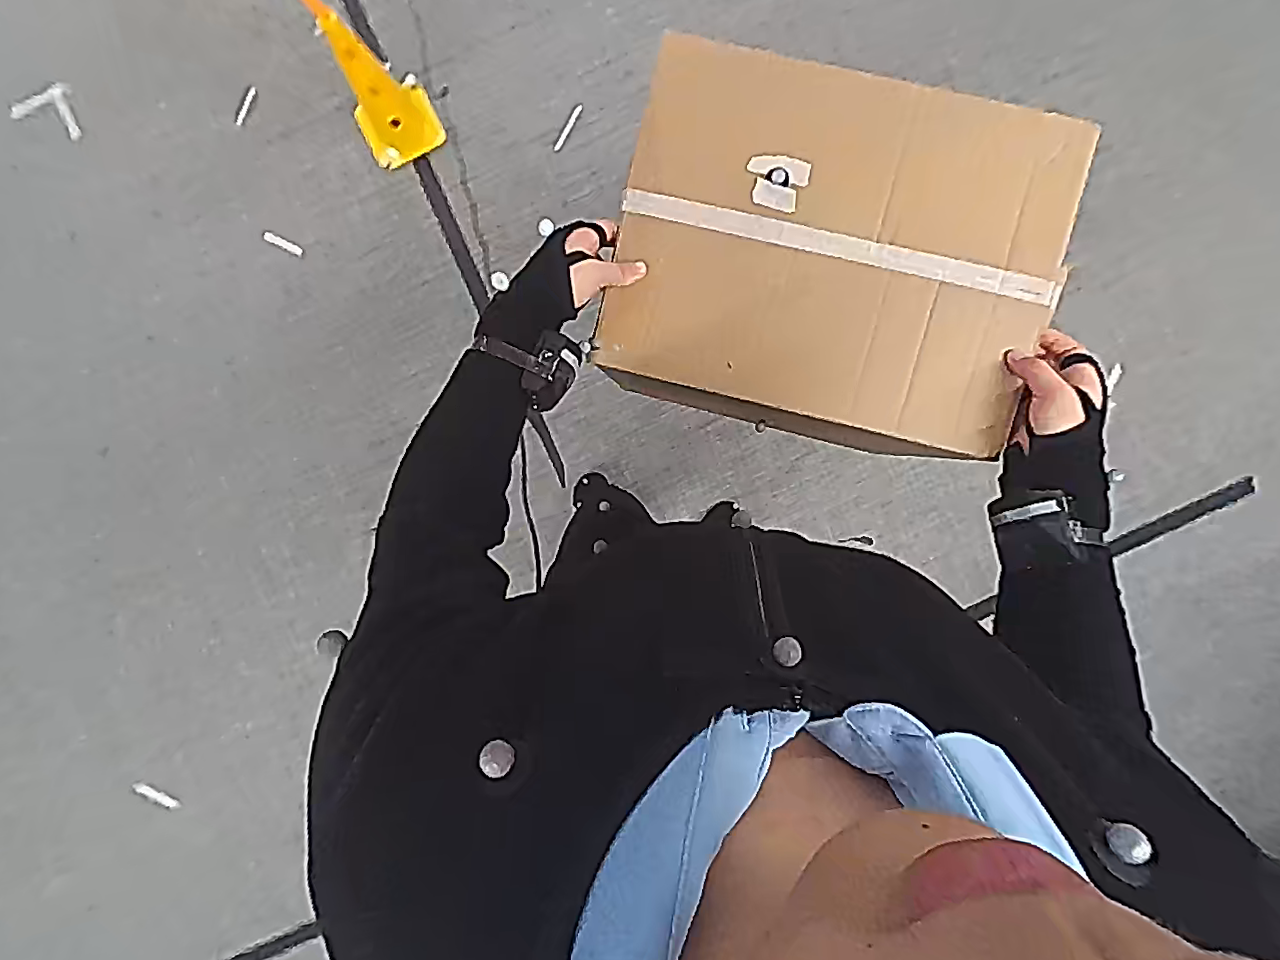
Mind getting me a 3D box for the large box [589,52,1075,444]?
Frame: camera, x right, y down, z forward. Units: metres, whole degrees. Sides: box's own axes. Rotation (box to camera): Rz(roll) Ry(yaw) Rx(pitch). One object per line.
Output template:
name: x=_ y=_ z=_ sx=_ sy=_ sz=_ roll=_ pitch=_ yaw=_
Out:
large box: x=0.187 y=-0.232 z=0.664 sx=0.408 sy=0.320 sz=0.320 roll=13 pitch=94 yaw=4
